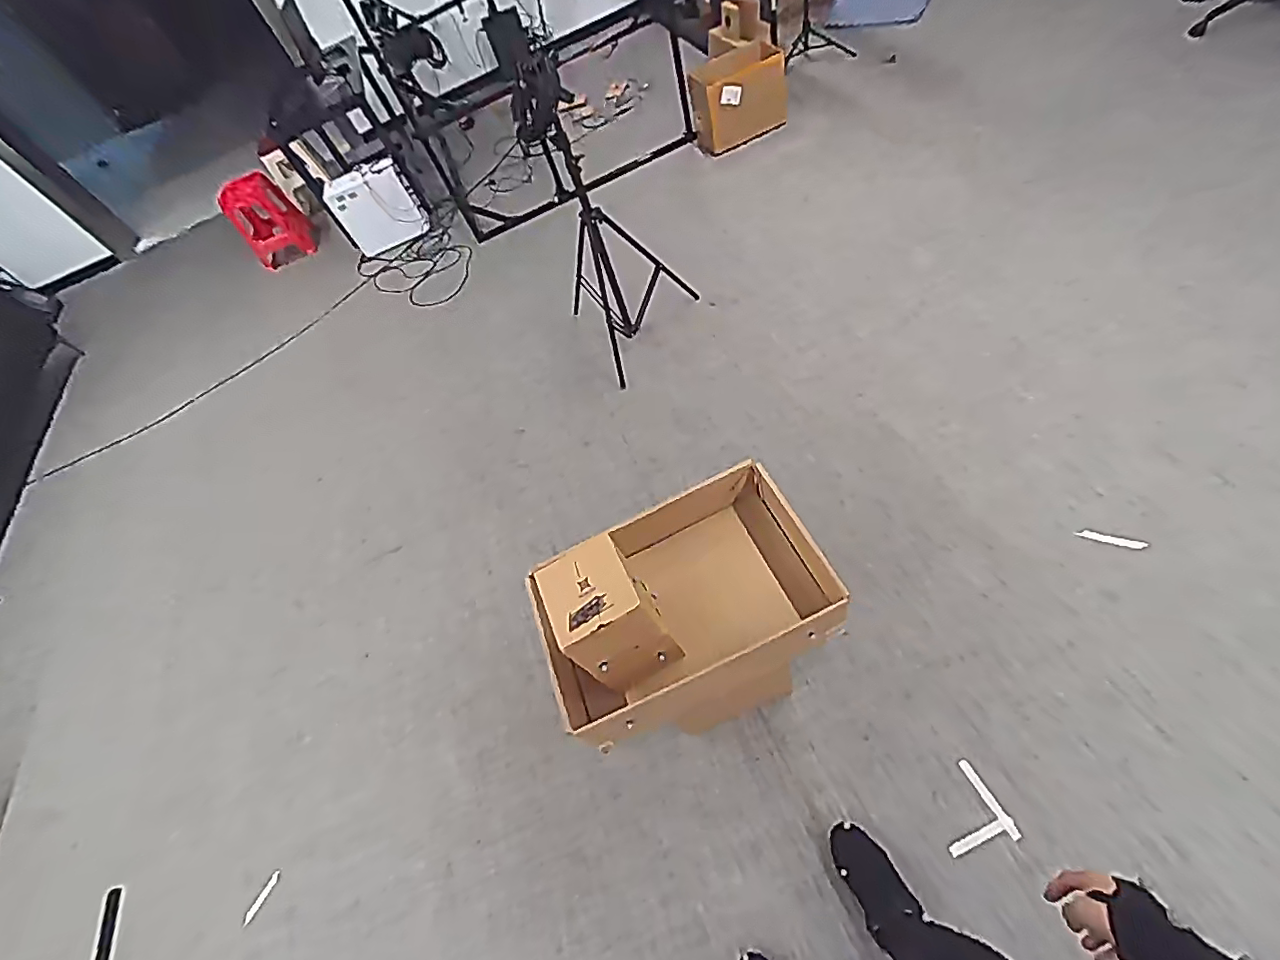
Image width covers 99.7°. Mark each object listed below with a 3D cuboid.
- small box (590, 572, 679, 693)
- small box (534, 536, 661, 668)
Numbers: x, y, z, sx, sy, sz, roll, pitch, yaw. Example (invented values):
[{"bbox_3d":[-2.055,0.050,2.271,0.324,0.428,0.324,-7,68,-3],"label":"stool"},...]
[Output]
[{"bbox_3d":[-0.028,0.336,1.182,0.179,0.176,0.168,-30,53,-2],"label":"small box"},{"bbox_3d":[-0.078,0.246,1.054,0.168,0.176,0.179,-29,52,-2],"label":"small box"}]
